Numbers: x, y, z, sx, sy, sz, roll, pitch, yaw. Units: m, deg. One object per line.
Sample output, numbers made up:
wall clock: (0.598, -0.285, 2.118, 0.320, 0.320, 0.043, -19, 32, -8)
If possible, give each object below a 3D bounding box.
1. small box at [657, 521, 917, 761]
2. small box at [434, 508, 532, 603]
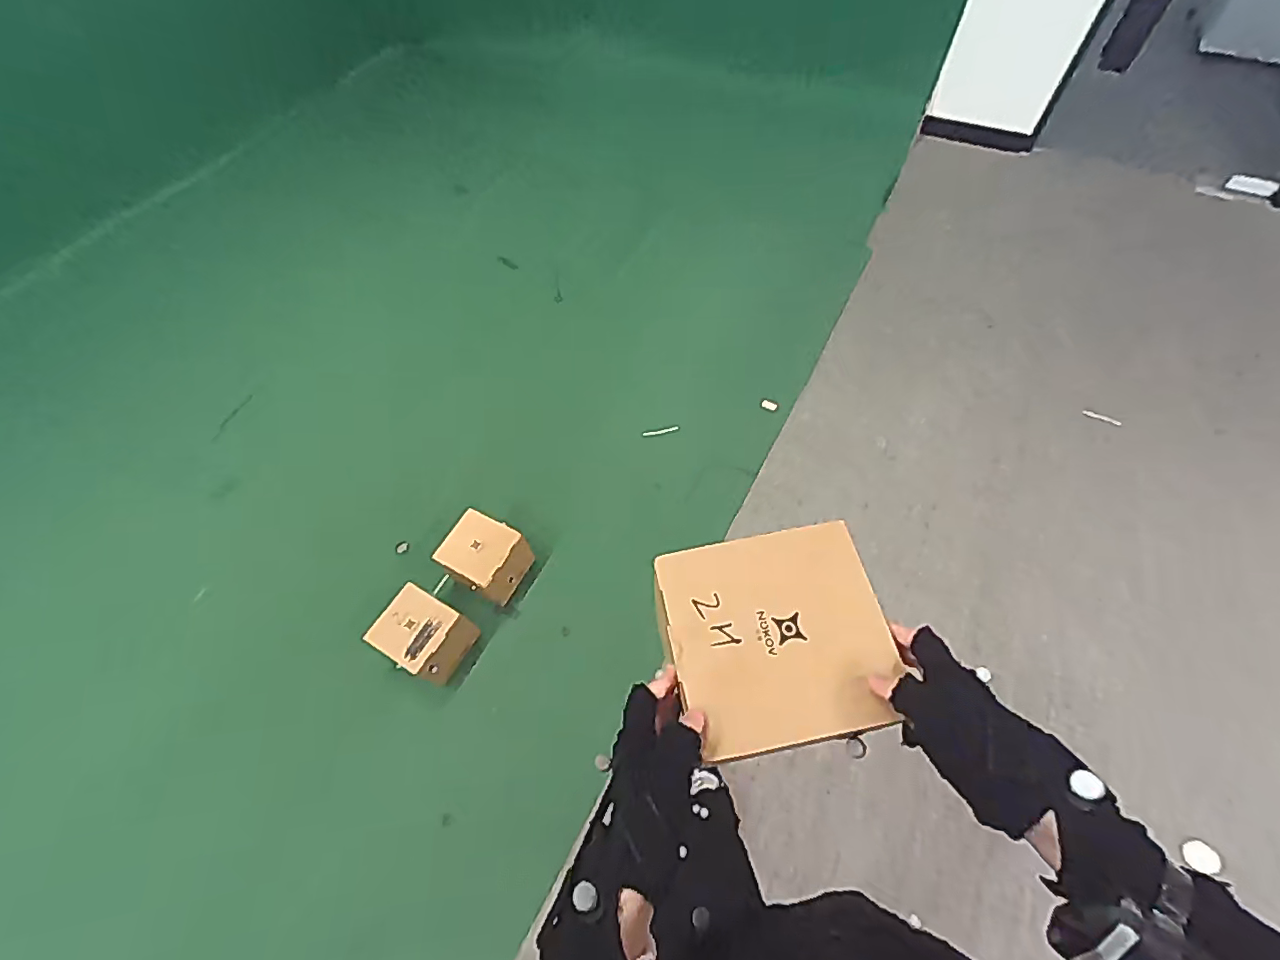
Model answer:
small box: (0.114, 0.158, 0.508, 0.179, 0.176, 0.168, -10, 61, -3)
small box: (-0.420, 0.211, 1.474, 0.179, 0.176, 0.168, 24, 63, 15)
